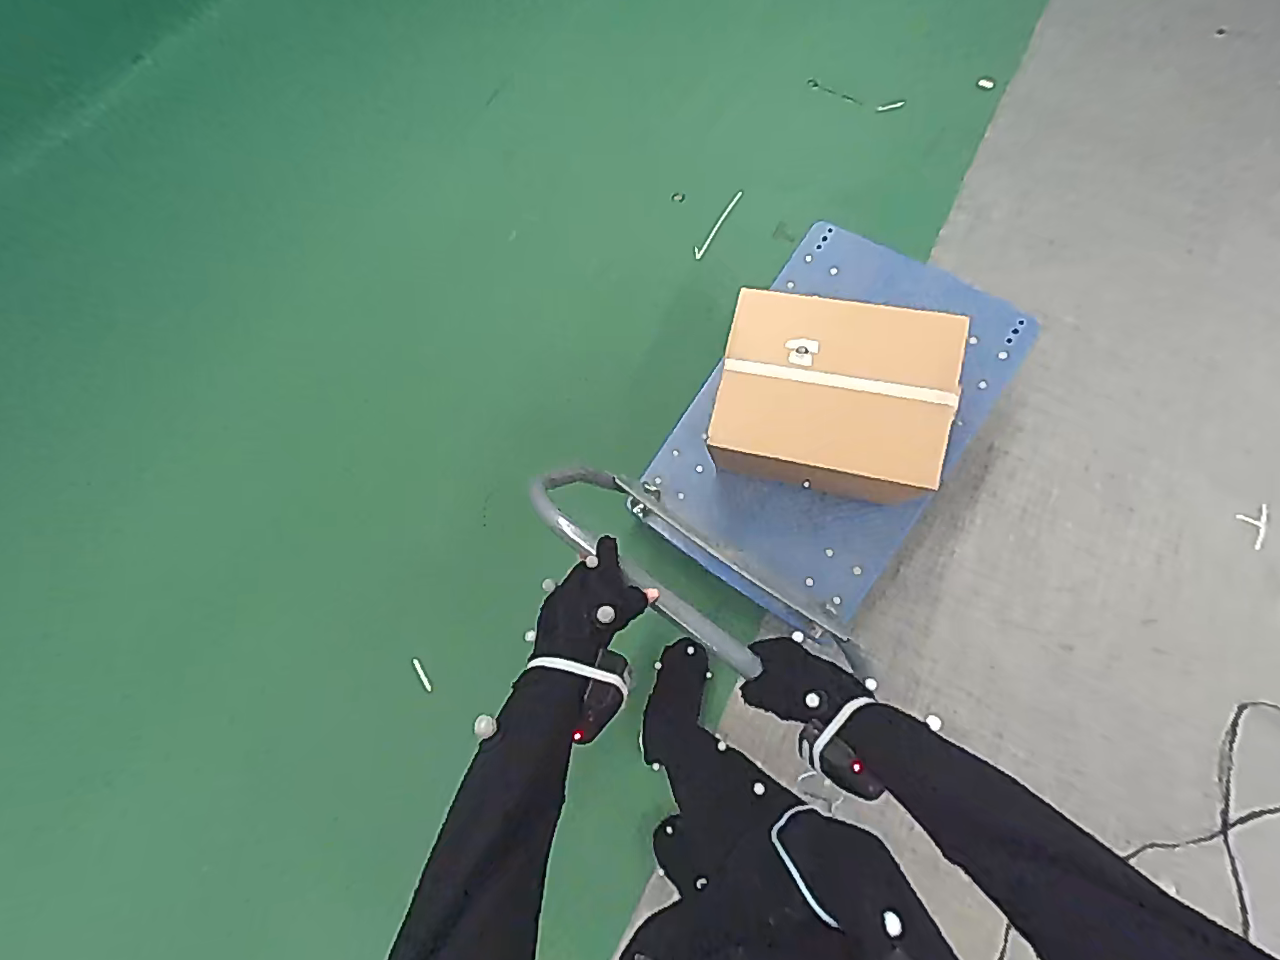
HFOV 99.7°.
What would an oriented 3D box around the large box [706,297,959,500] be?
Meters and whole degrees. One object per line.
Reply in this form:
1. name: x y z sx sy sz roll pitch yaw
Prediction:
1. large box: 0.380 -0.153 1.131 0.408 0.320 0.320 12 84 15
